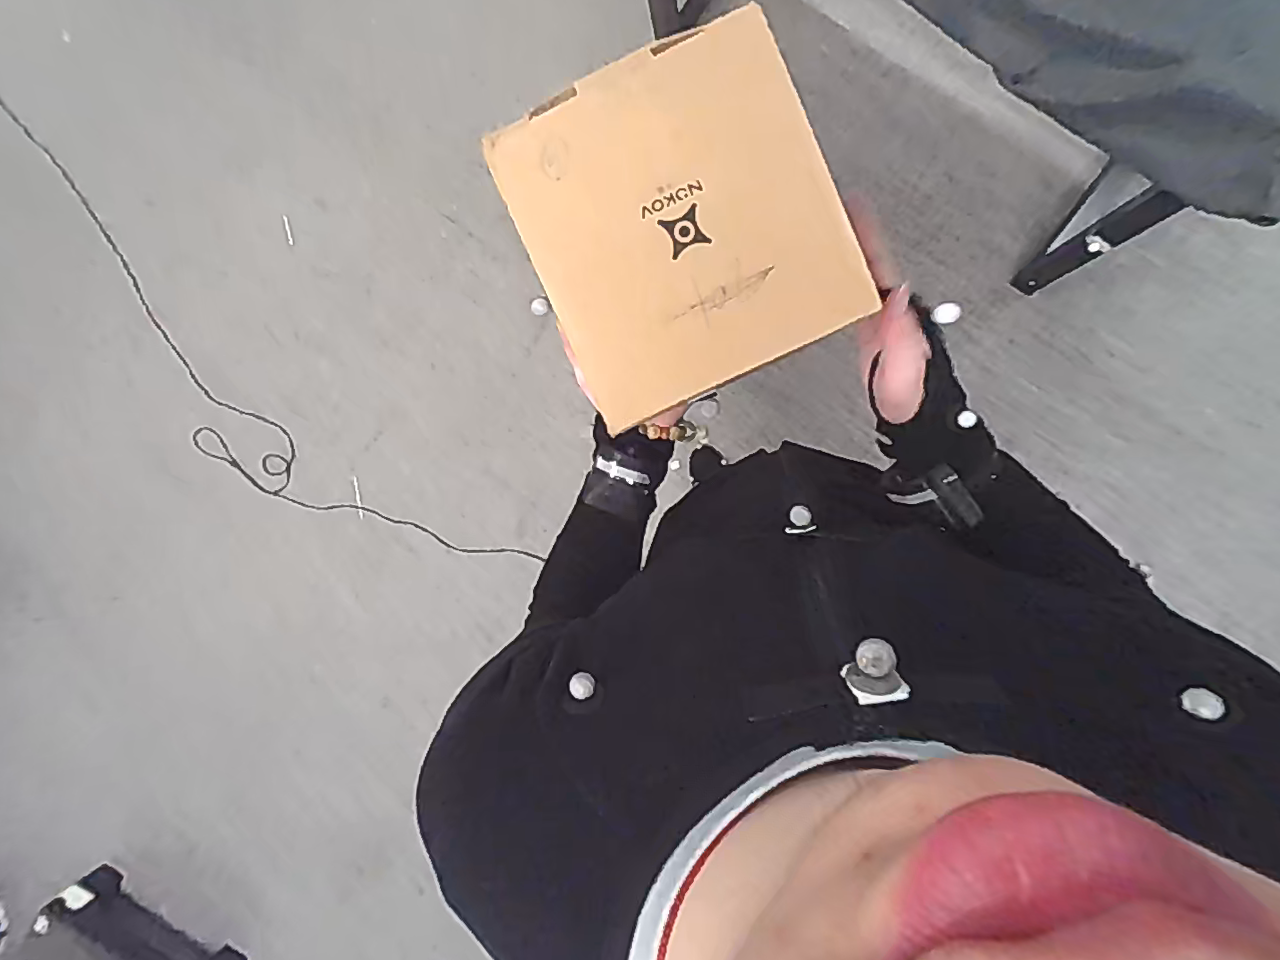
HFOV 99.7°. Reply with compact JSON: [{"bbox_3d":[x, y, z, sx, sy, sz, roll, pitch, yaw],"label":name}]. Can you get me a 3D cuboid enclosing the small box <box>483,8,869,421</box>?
[{"bbox_3d":[0.021,-0.149,0.376,0.168,0.176,0.179,-24,95,4],"label":"small box"}]
